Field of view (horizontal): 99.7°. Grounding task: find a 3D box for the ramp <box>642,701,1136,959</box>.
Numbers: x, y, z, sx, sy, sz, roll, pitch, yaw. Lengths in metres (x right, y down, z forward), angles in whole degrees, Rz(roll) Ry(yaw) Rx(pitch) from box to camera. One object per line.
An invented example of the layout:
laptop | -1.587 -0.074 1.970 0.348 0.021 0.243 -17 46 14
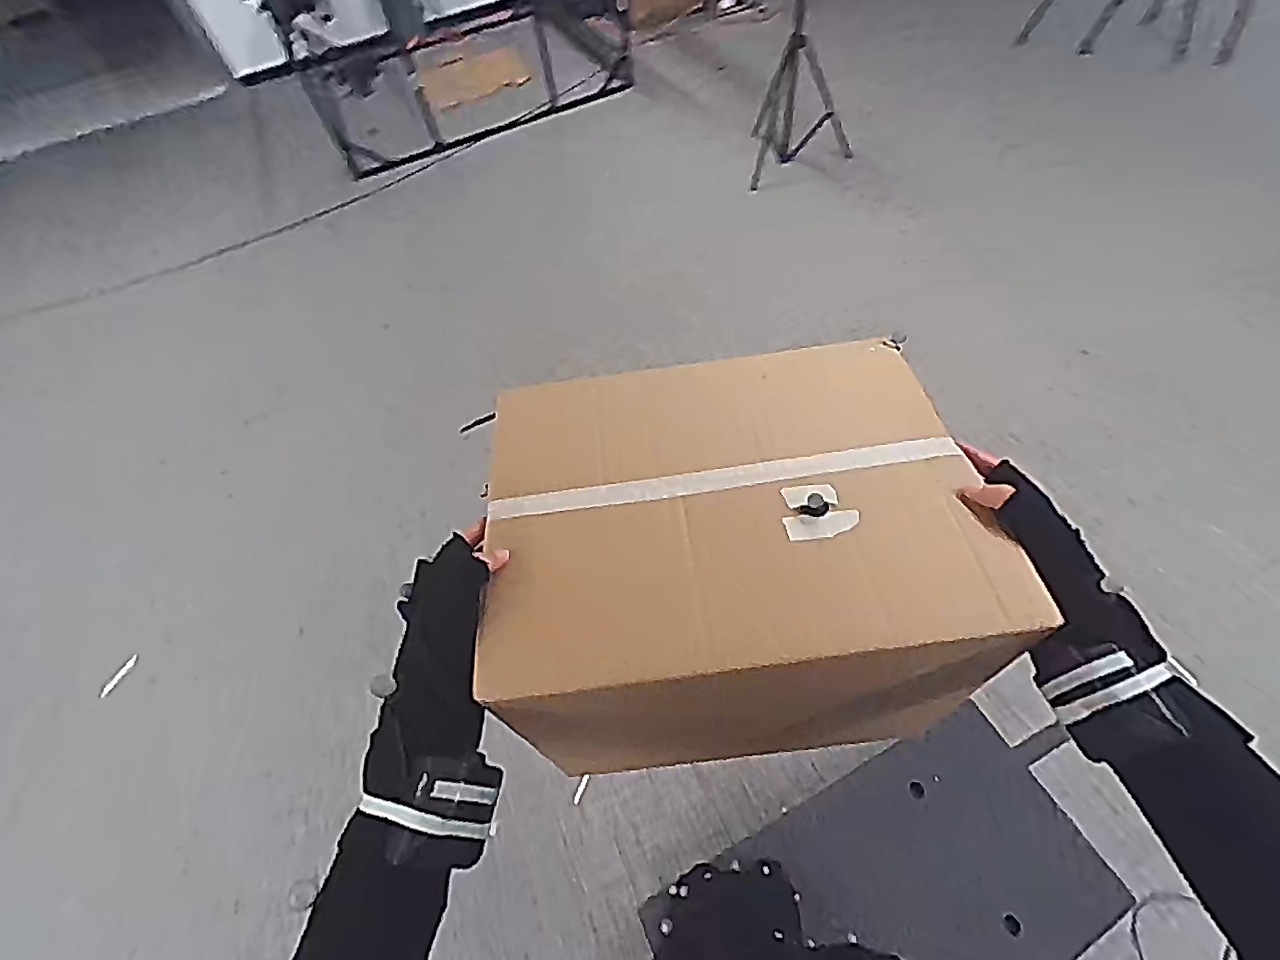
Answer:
ramp | 0.550 0.926 1.176 0.991 0.206 0.509 -28 55 -11

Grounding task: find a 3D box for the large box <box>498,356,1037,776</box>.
large box | 0.090 0.105 0.596 0.408 0.320 0.320 -7 52 1
